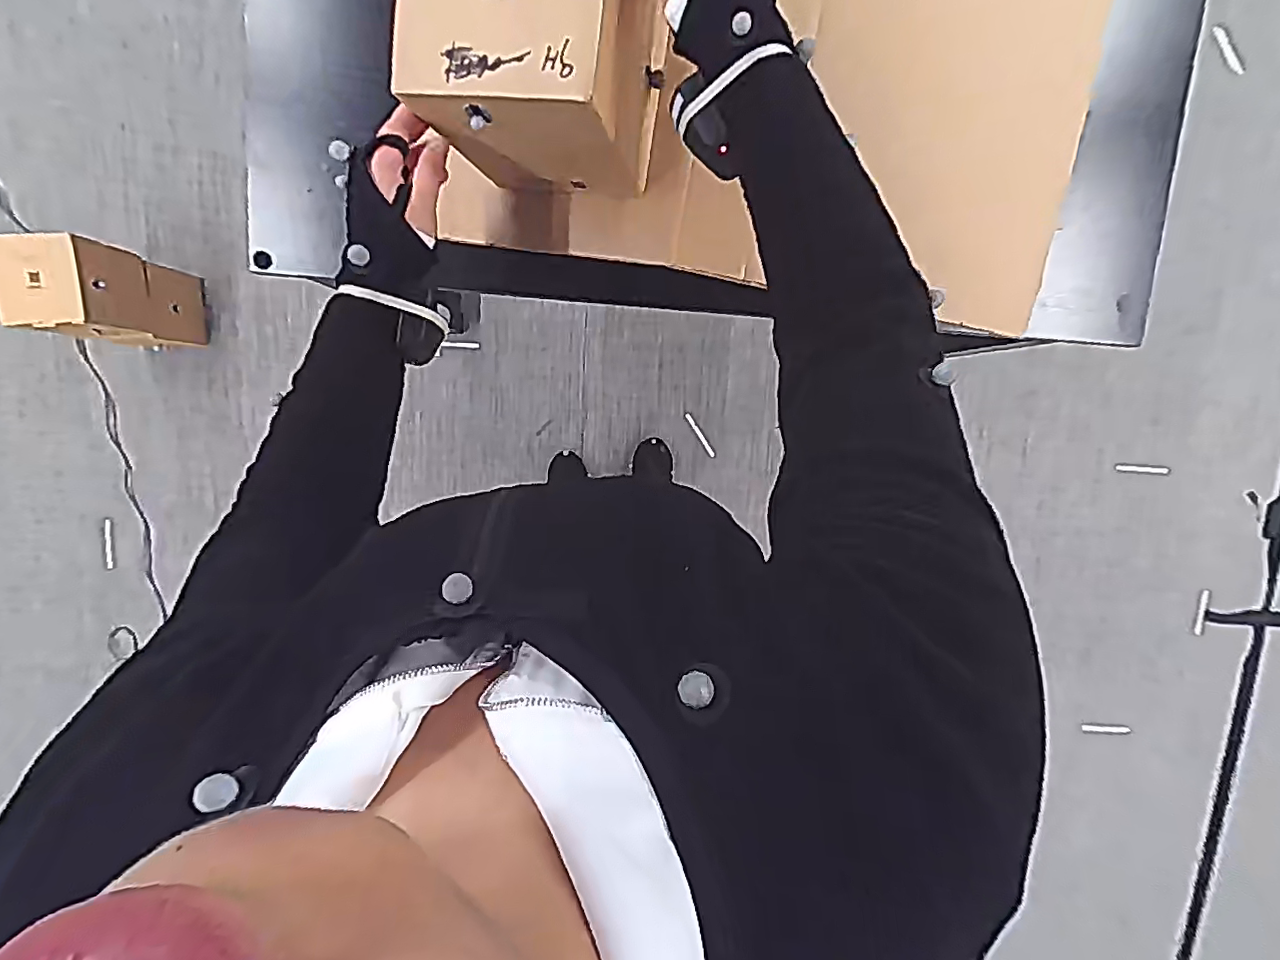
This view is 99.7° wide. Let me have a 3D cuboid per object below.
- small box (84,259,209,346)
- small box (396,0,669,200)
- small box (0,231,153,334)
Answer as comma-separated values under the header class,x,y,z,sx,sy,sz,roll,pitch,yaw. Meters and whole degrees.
class,x,y,z,sx,sy,sz,roll,pitch,yaw
small box,-1.192,-0.424,1.307,0.168,0.176,0.179,0,98,-2
small box,-0.076,-0.373,0.466,0.168,0.176,0.179,11,97,12
small box,-1.187,-0.409,1.146,0.168,0.176,0.179,-3,97,-3
